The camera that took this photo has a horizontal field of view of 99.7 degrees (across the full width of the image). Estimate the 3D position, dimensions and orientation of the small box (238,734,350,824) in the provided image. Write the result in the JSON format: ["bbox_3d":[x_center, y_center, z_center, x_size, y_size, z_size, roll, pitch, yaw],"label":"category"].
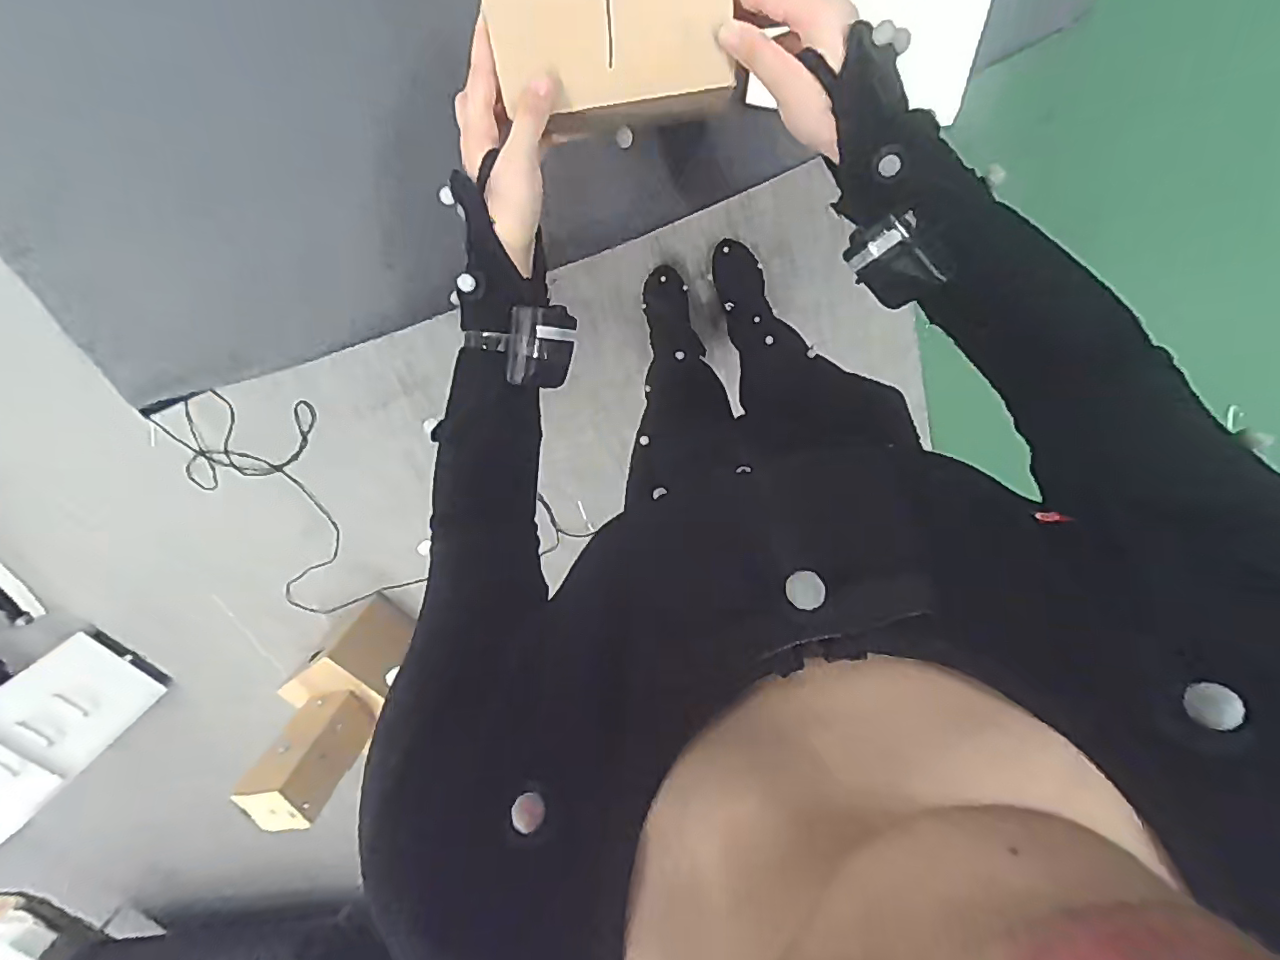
[{"bbox_3d":[-0.995,0.868,1.572,0.179,0.176,0.168,-13,117,16],"label":"small box"}]

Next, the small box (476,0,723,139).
[{"bbox_3d":[-0.029,-0.384,0.419,0.168,0.176,0.179,-5,118,6],"label":"small box"}]
